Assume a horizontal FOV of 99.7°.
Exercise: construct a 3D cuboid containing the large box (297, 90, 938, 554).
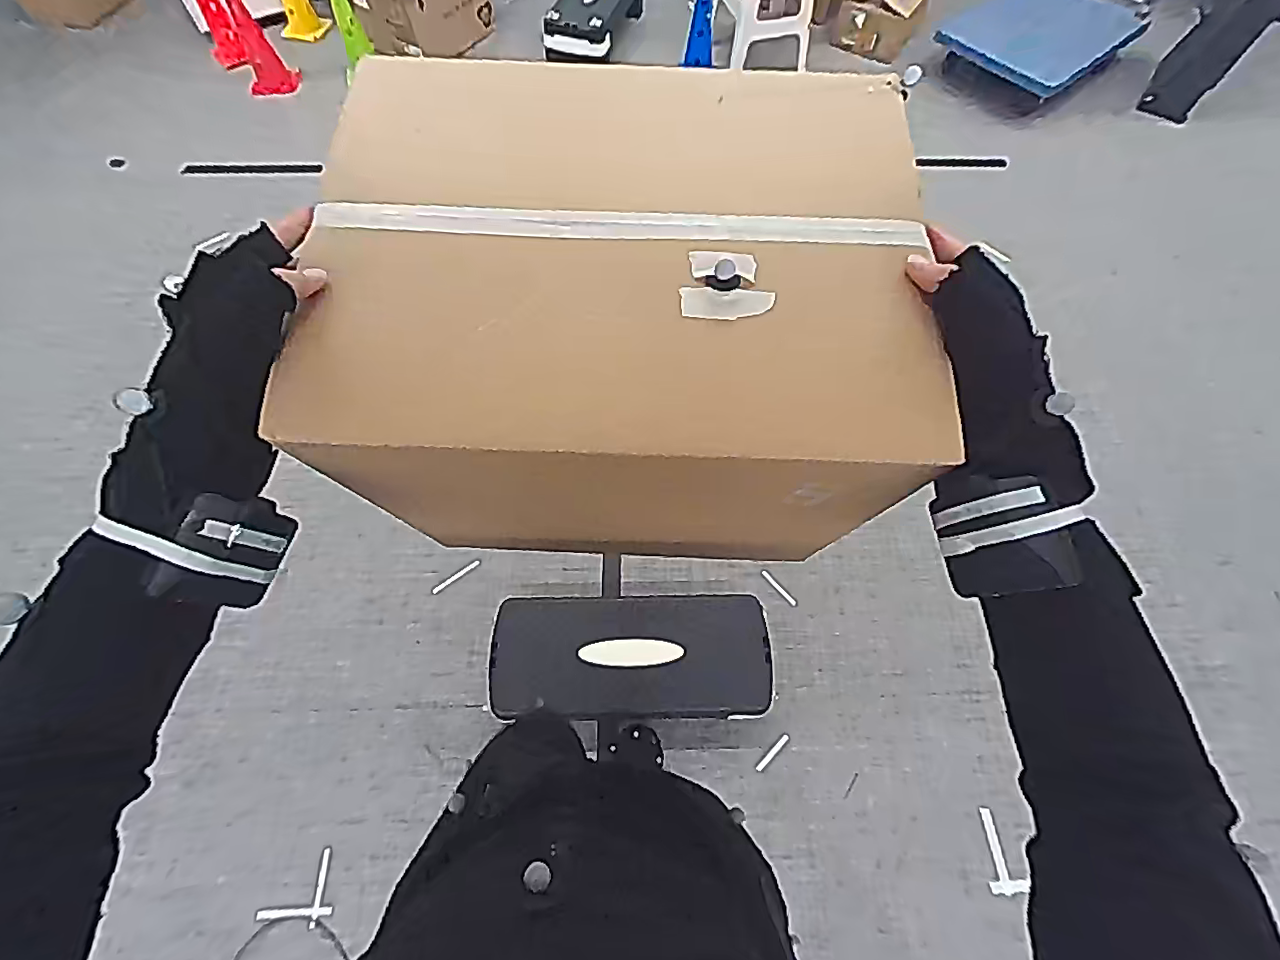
[{"bbox_3d":[-0.013,-0.113,0.520,0.408,0.320,0.320,2,71,0],"label":"large box"}]
